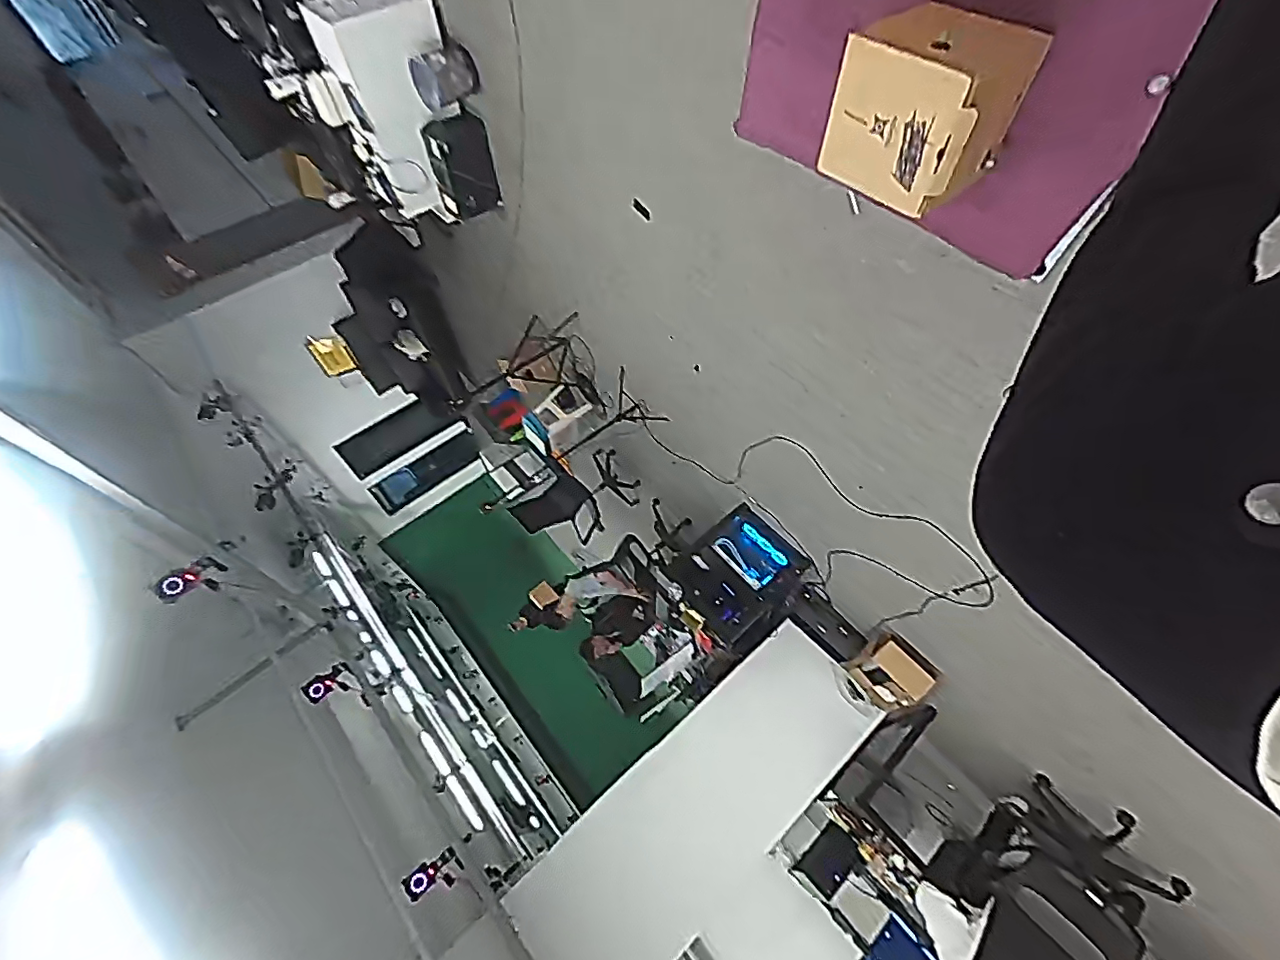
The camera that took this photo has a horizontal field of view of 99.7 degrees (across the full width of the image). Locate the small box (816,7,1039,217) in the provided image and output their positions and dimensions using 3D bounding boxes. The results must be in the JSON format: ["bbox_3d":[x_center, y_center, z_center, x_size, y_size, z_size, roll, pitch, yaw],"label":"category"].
[{"bbox_3d":[0.375,-0.494,0.723,0.179,0.176,0.168,45,158,26],"label":"small box"}]
